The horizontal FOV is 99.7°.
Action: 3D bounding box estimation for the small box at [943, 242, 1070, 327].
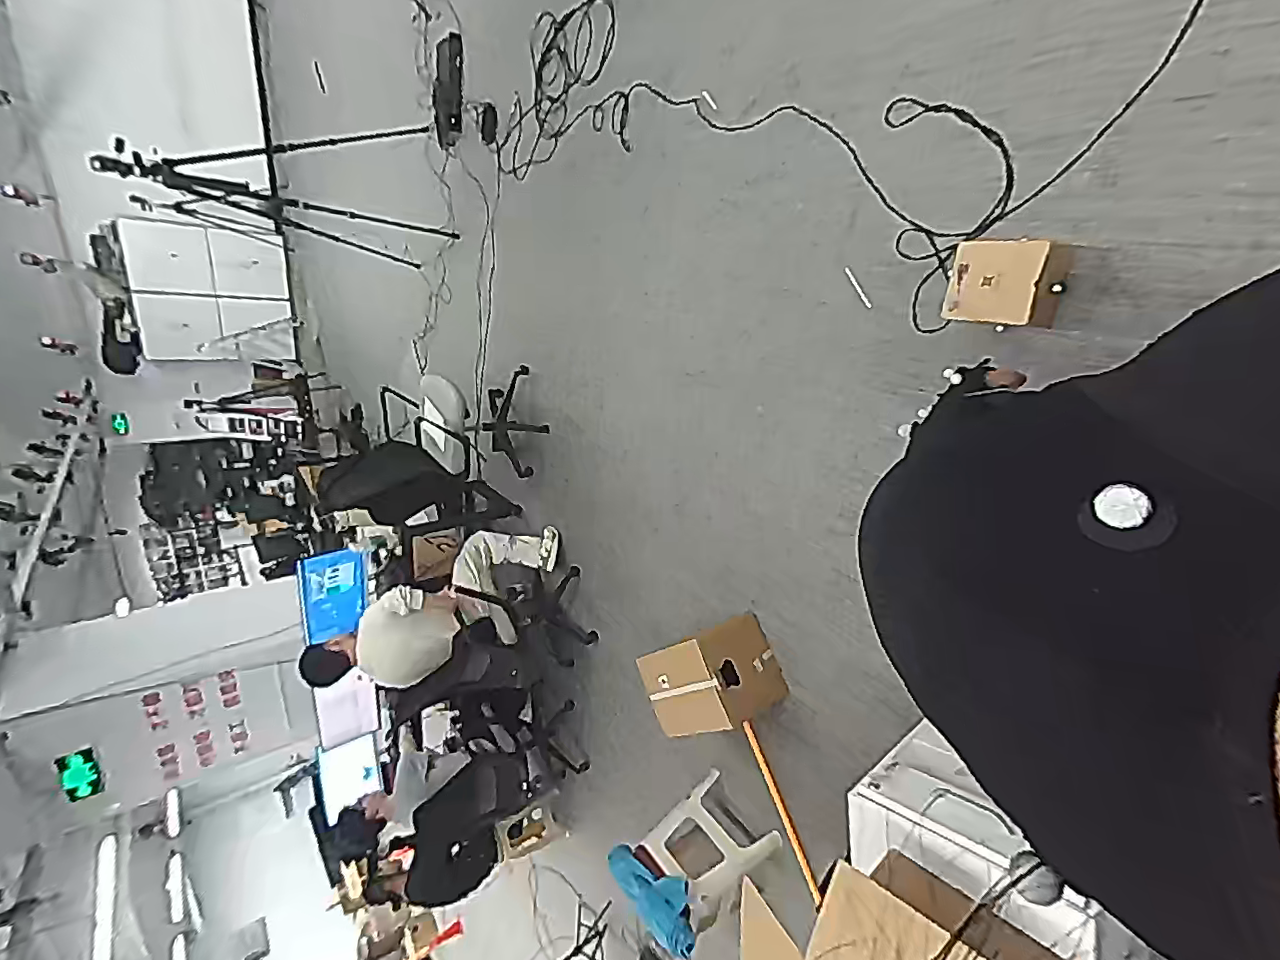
[{"bbox_3d":[0.817,-0.433,1.203,0.179,0.176,0.168,24,117,44],"label":"small box"}]
